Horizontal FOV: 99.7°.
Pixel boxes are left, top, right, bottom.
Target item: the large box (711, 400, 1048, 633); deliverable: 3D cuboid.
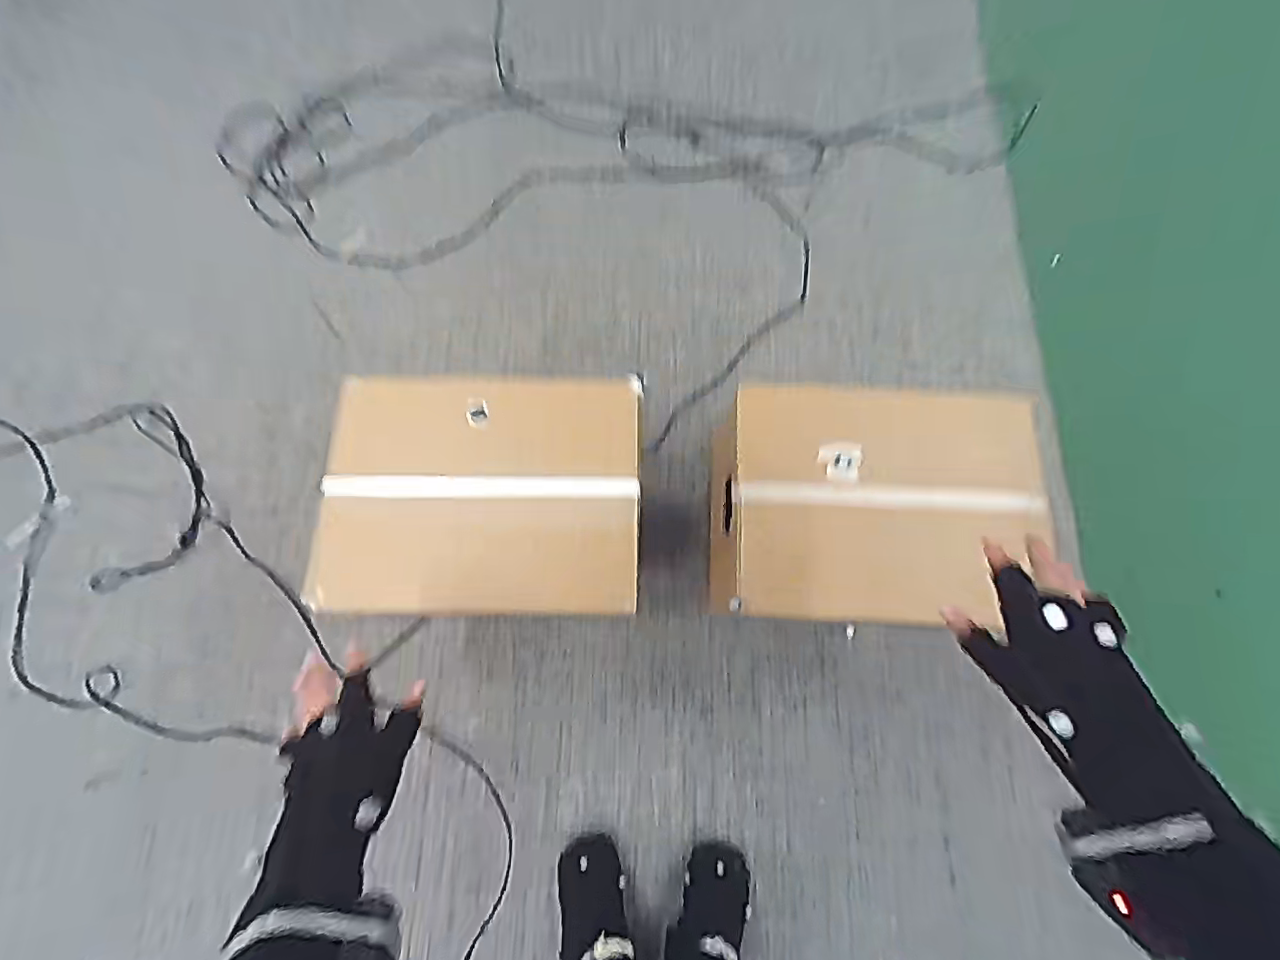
[{"bbox_3d":[0.335,0.077,0.875,0.408,0.320,0.320,3,74,1],"label":"large box"}]
